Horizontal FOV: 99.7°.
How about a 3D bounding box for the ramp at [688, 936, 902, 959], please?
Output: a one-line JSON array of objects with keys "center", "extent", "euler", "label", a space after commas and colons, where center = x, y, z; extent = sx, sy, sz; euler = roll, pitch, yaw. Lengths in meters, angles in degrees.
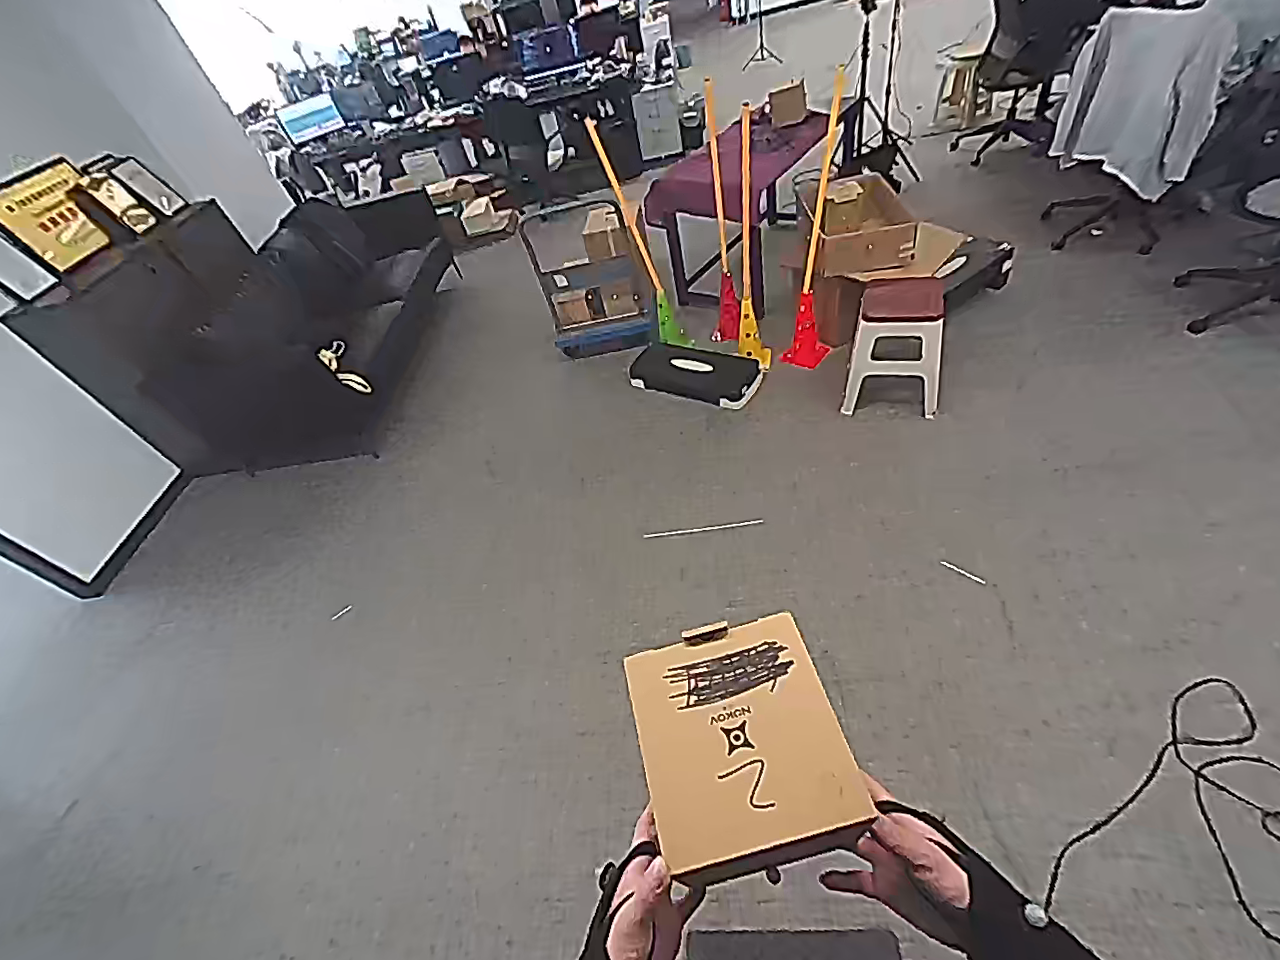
[{"center": [0.327, 1.381, 0.884], "extent": [0.509, 0.206, 0.991], "euler": [-10, 45, 9], "label": "ramp"}]
